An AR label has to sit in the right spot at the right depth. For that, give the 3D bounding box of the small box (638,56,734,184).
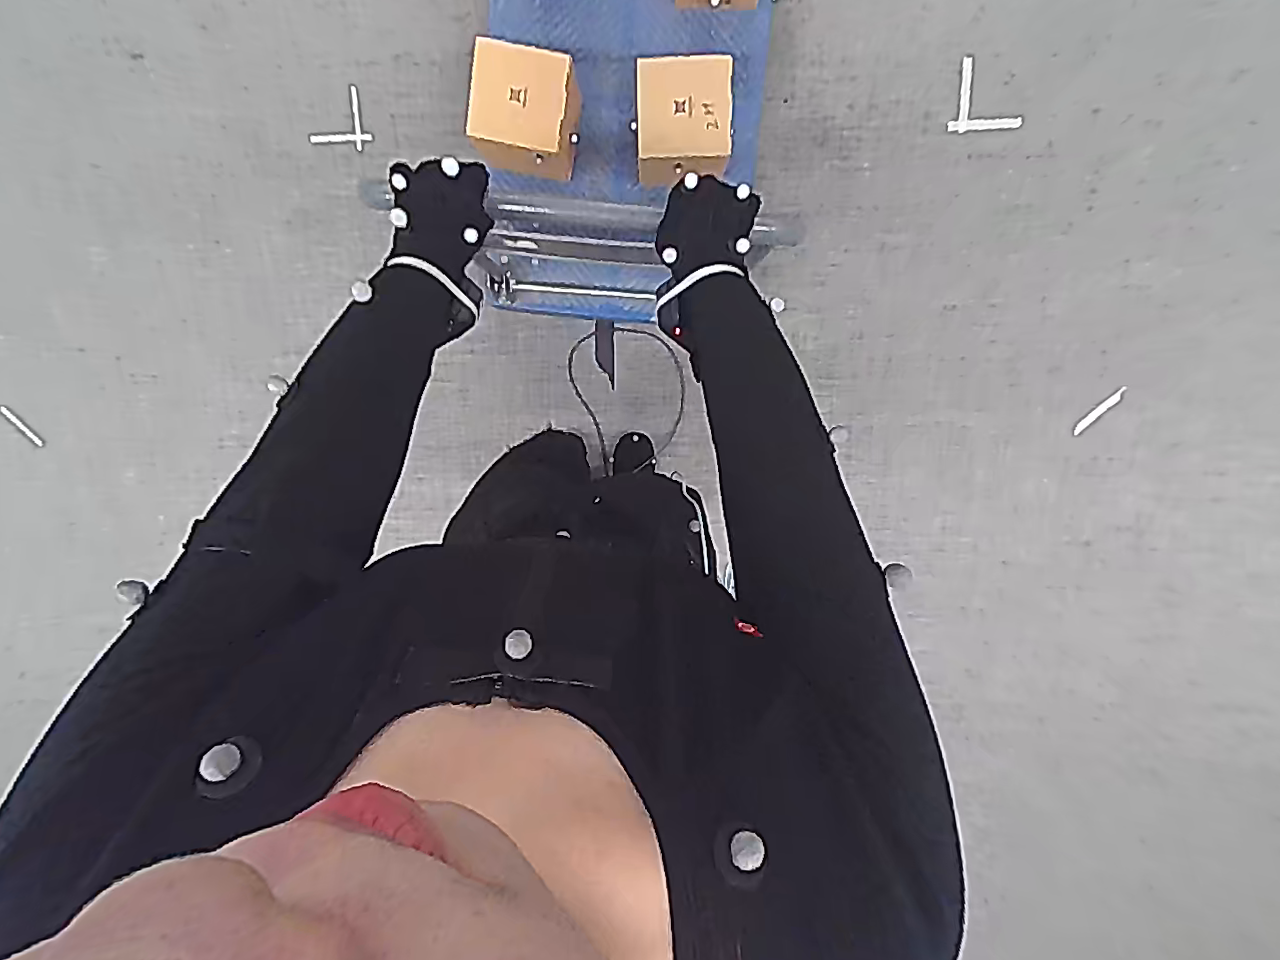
[{"bbox_3d":[0.087,-0.703,1.074,0.179,0.176,0.168,-1,103,1],"label":"small box"}]

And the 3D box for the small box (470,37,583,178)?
[{"bbox_3d":[-0.219,-0.726,1.075,0.179,0.176,0.168,10,102,-3],"label":"small box"}]

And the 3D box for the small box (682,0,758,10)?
[{"bbox_3d":[0.159,-1.025,1.001,0.168,0.176,0.179,2,103,1],"label":"small box"}]
